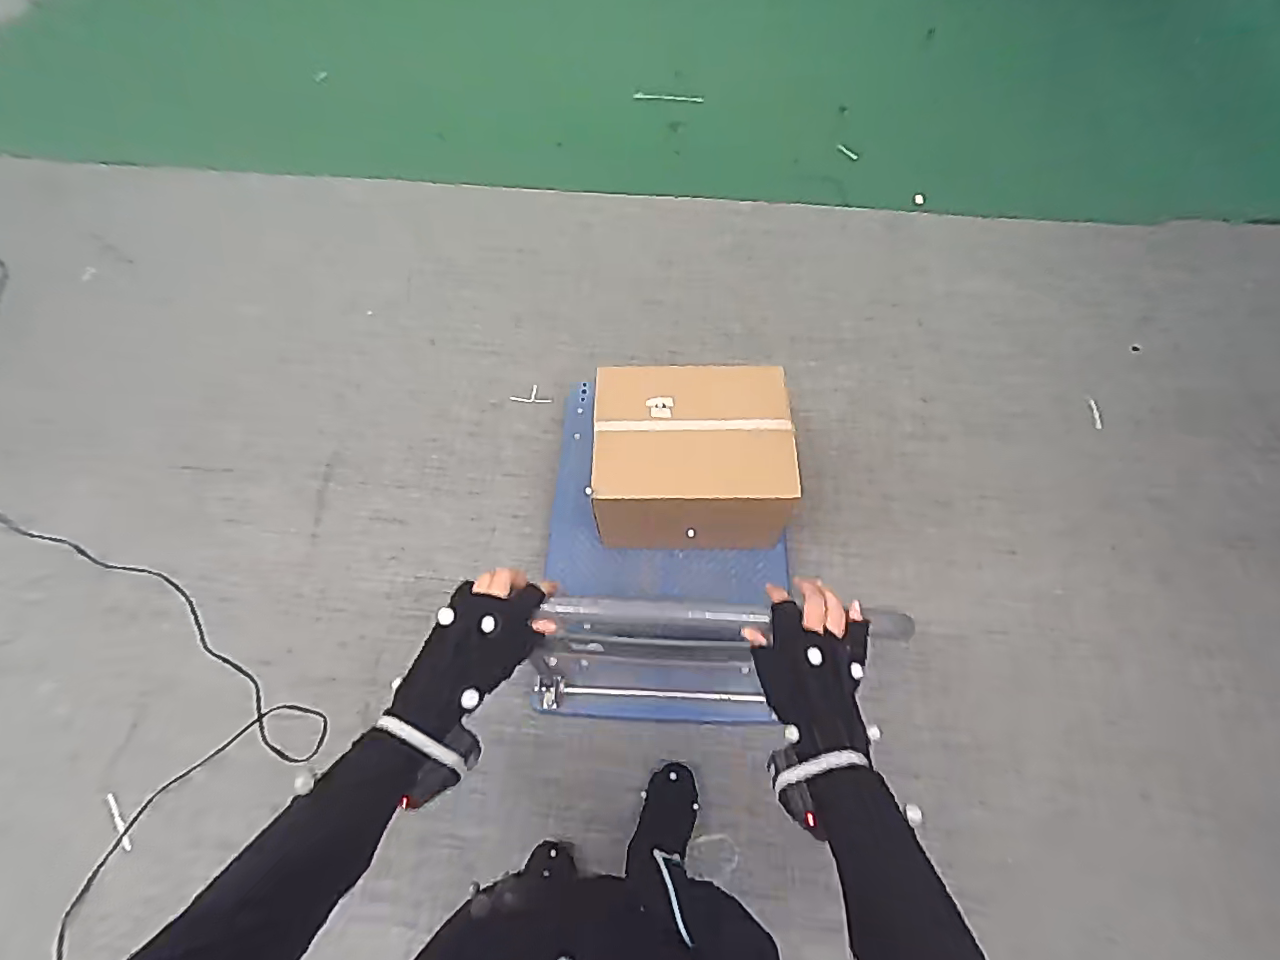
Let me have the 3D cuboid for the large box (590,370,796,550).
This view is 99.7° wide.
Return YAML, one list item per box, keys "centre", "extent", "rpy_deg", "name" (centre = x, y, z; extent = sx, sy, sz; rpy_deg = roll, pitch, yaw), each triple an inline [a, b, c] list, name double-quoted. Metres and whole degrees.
- centre: [0.108, -0.031, 1.239]
  extent: [0.408, 0.320, 0.320]
  rpy_deg: [-1, 63, 2]
  name: "large box"
